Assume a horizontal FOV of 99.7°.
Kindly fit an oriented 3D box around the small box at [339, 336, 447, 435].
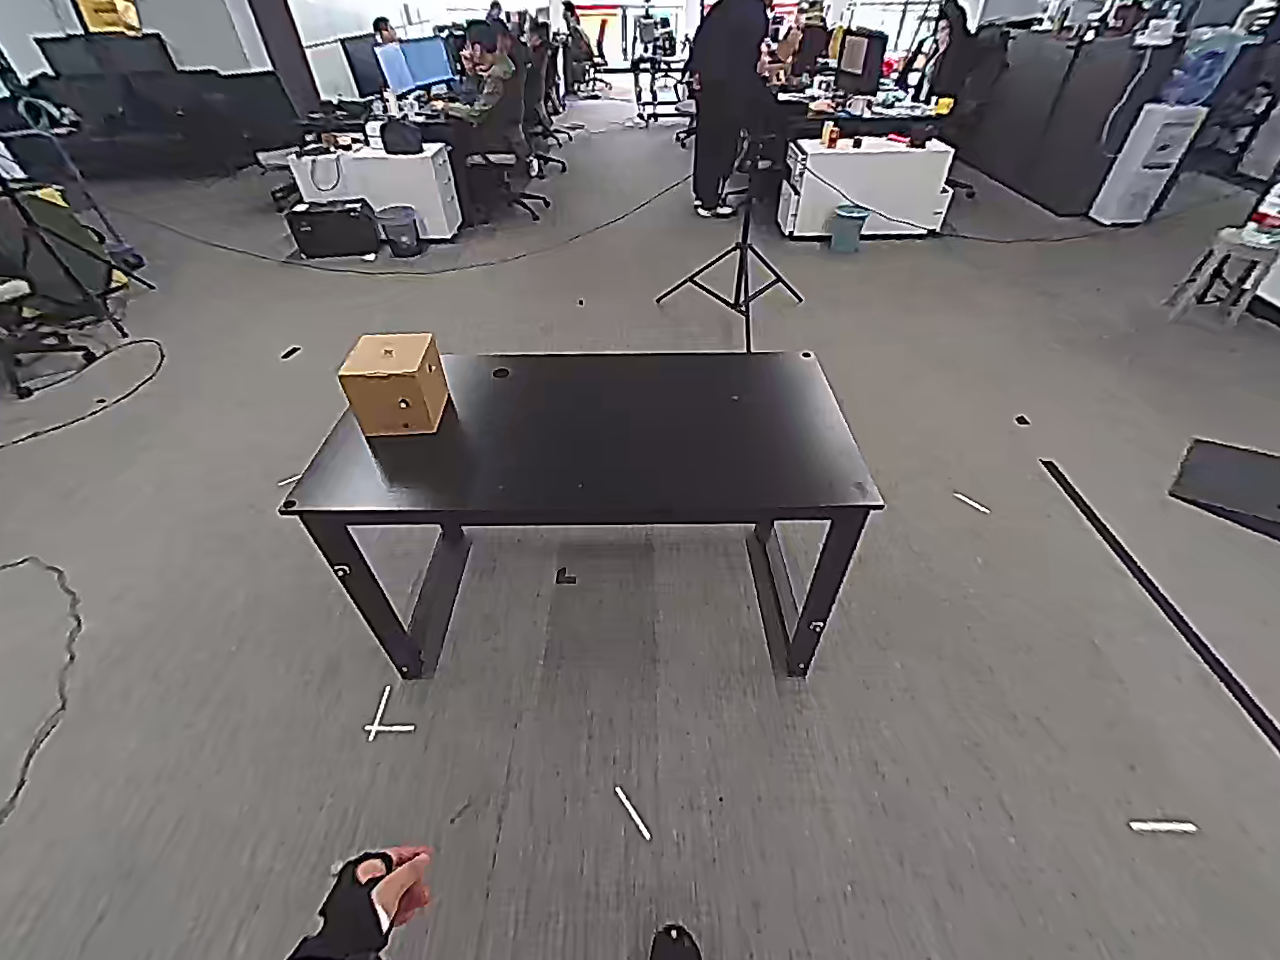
[{"bbox_3d":[-0.559,-0.215,1.252,0.168,0.176,0.179,-2,42,-4],"label":"small box"}]
